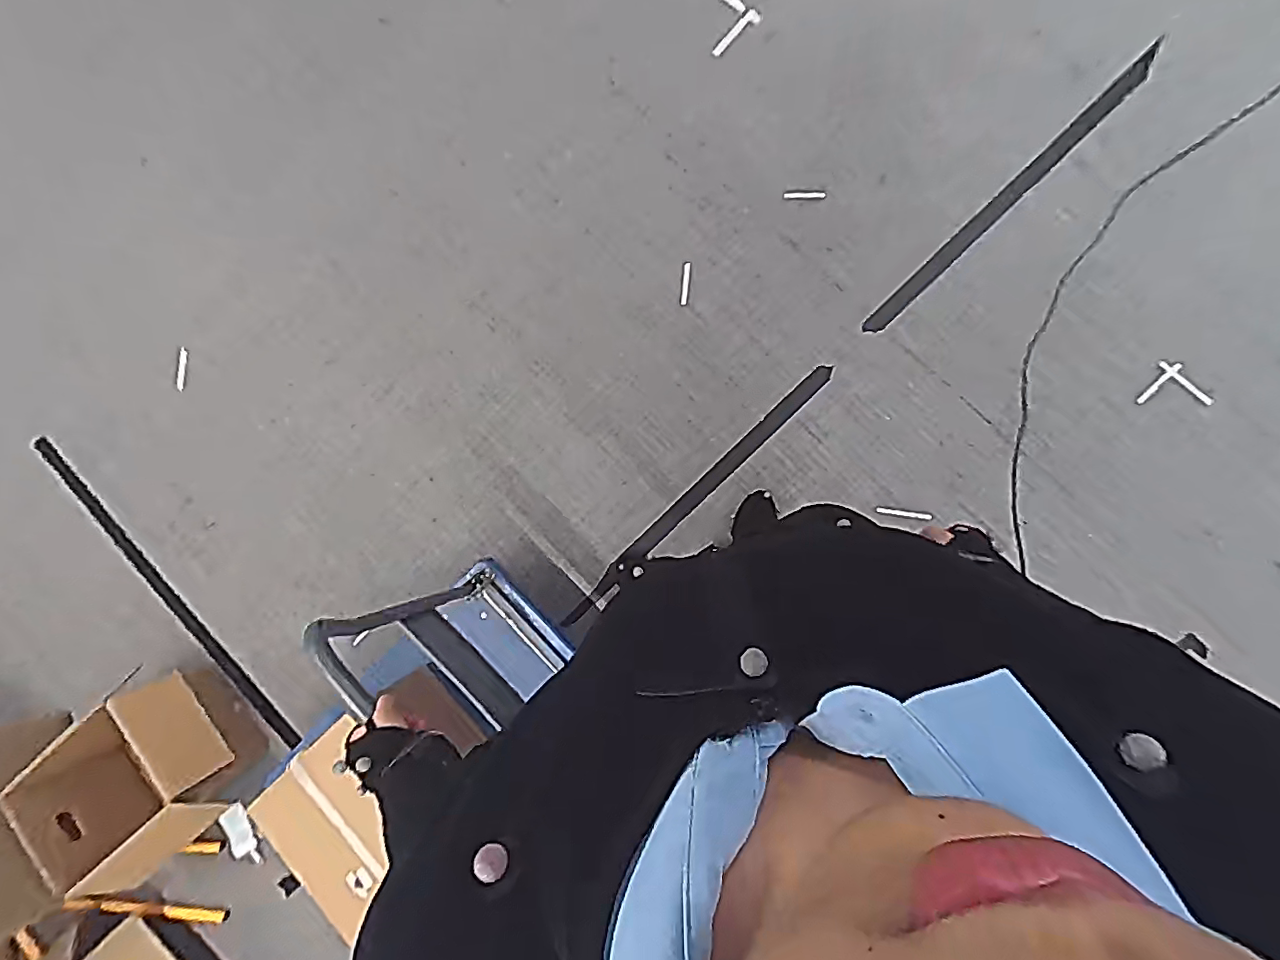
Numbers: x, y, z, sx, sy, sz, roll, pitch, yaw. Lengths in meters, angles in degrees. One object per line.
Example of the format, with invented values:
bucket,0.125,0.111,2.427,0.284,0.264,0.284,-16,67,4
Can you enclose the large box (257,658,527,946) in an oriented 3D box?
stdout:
large box,-0.537,0.696,1.241,0.320,0.320,0.408,-44,86,5
